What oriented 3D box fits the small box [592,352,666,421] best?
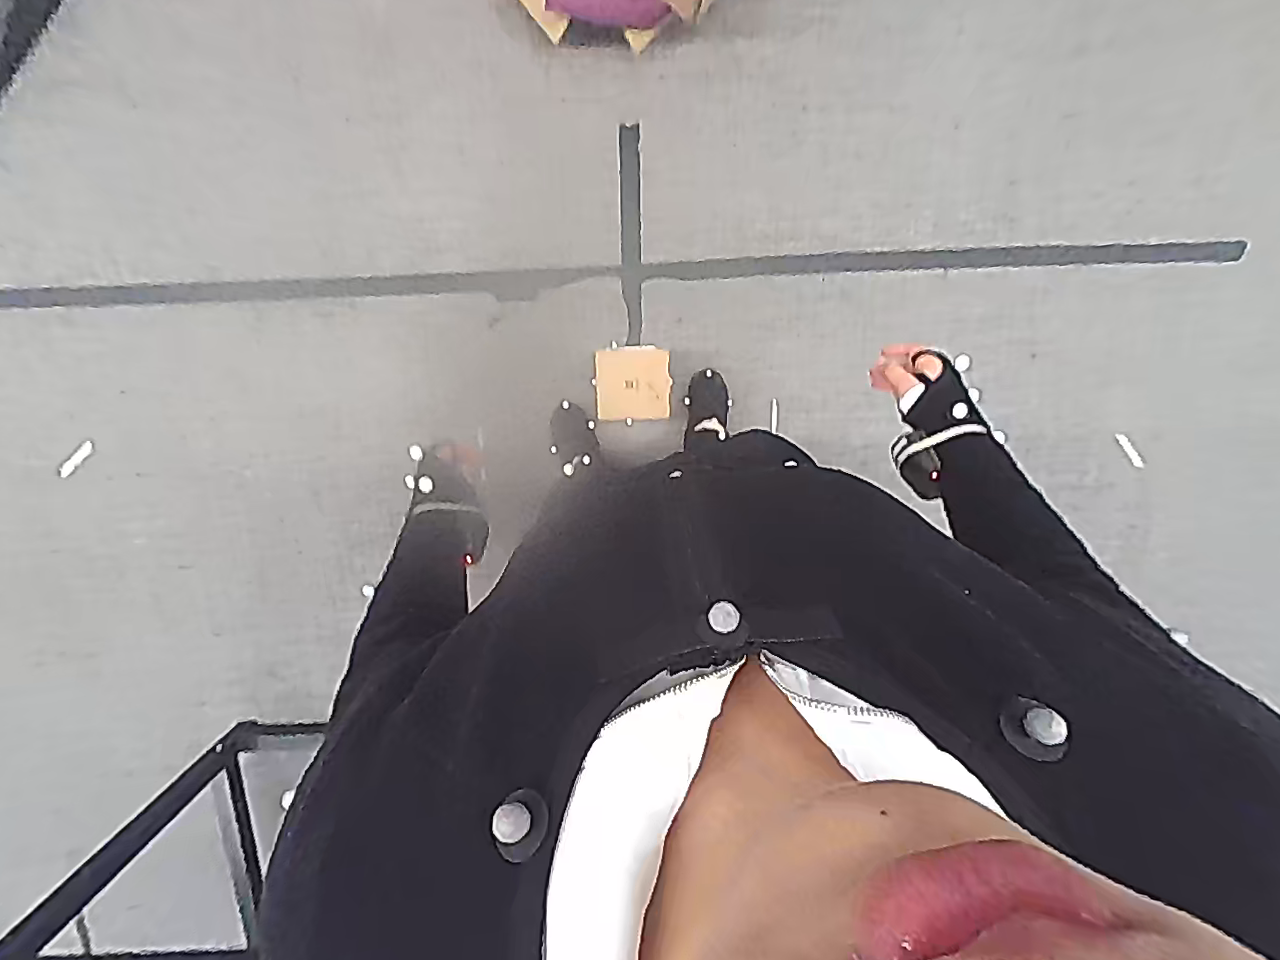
[{"bbox_3d":[-0.028,-0.238,1.365,0.179,0.176,0.168,-2,104,-2],"label":"small box"}]
